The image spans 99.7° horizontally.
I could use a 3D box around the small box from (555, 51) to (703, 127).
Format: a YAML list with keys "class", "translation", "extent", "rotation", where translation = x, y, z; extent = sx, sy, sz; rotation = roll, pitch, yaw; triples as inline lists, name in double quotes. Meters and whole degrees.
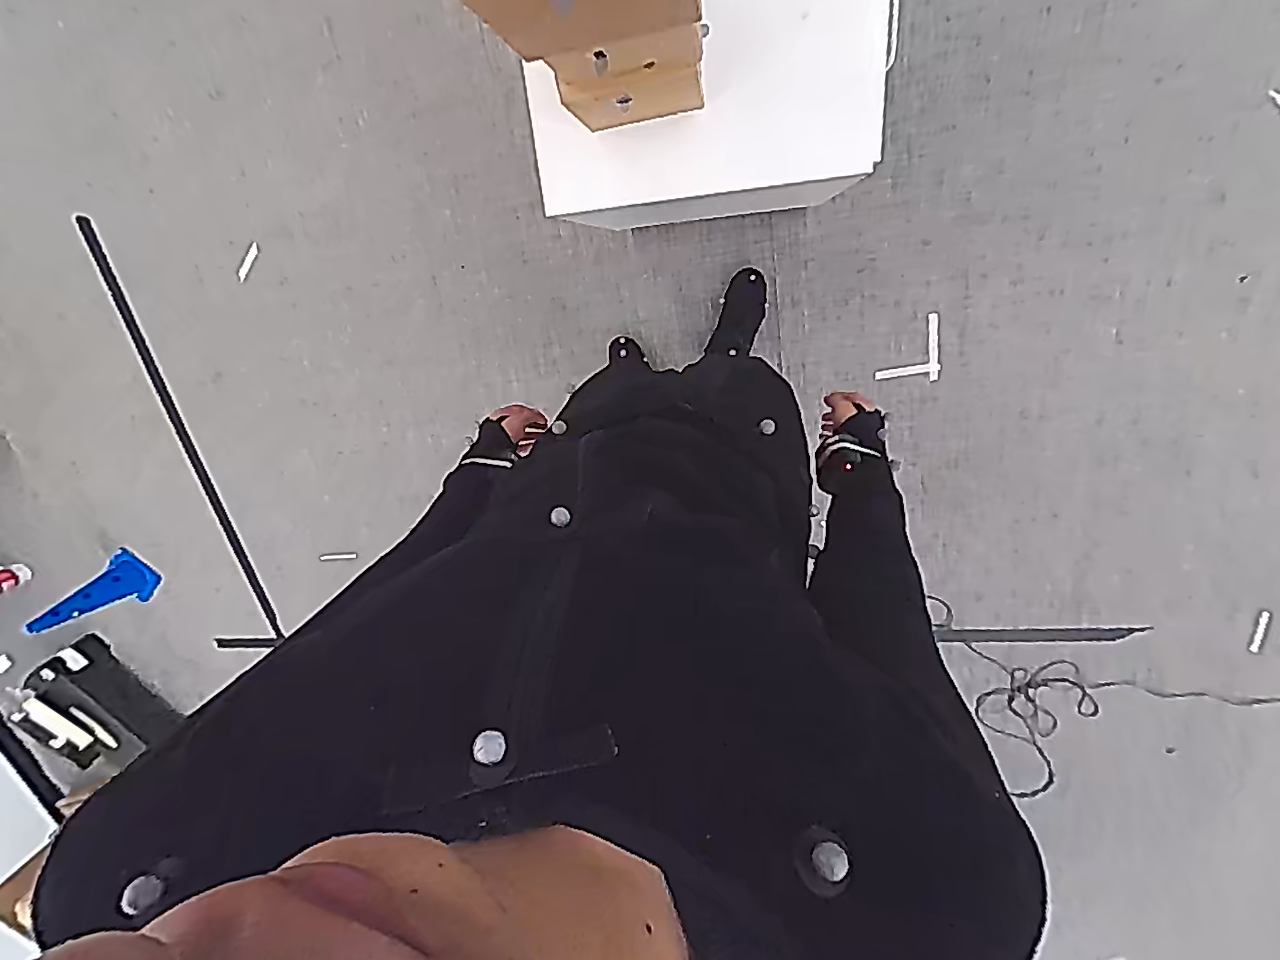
- class: "small box"
  translation: [-0.015, -0.588, 0.711]
  extent: [0.179, 0.176, 0.168]
  rotation: [-5, 111, 11]

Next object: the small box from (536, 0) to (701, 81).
- class: "small box"
  translation: [-0.030, -0.541, 0.556]
  extent: [0.168, 0.176, 0.179]
  rotation: [-4, 111, 11]

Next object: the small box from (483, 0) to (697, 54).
- class: "small box"
  translation: [-0.052, -0.462, 0.412]
  extent: [0.179, 0.176, 0.168]
  rotation: [-4, 111, 11]
